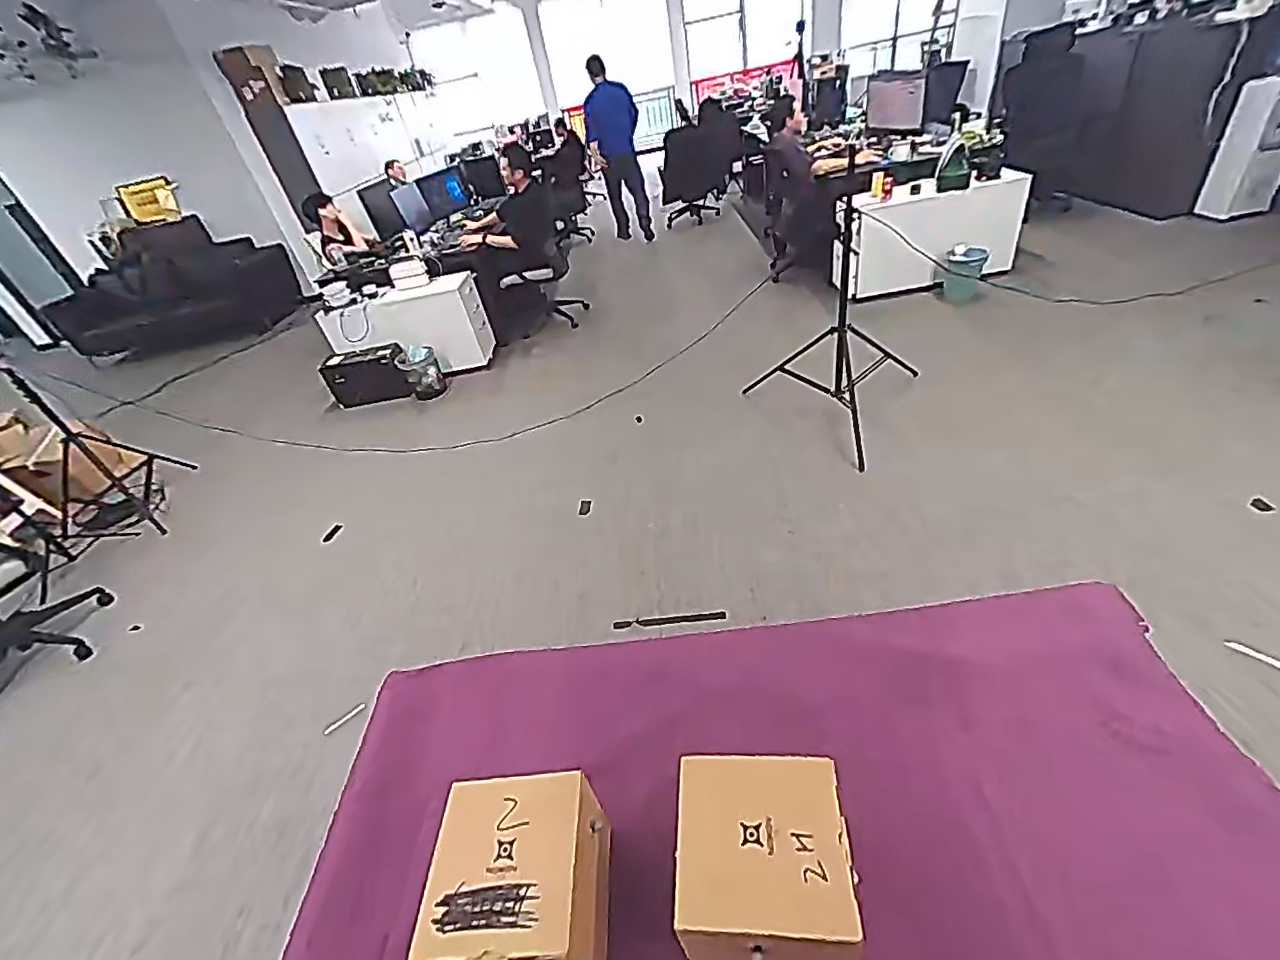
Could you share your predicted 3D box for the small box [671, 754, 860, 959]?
[{"bbox_3d":[0.138,0.433,0.609,0.179,0.176,0.168,-4,37,11],"label":"small box"}]
